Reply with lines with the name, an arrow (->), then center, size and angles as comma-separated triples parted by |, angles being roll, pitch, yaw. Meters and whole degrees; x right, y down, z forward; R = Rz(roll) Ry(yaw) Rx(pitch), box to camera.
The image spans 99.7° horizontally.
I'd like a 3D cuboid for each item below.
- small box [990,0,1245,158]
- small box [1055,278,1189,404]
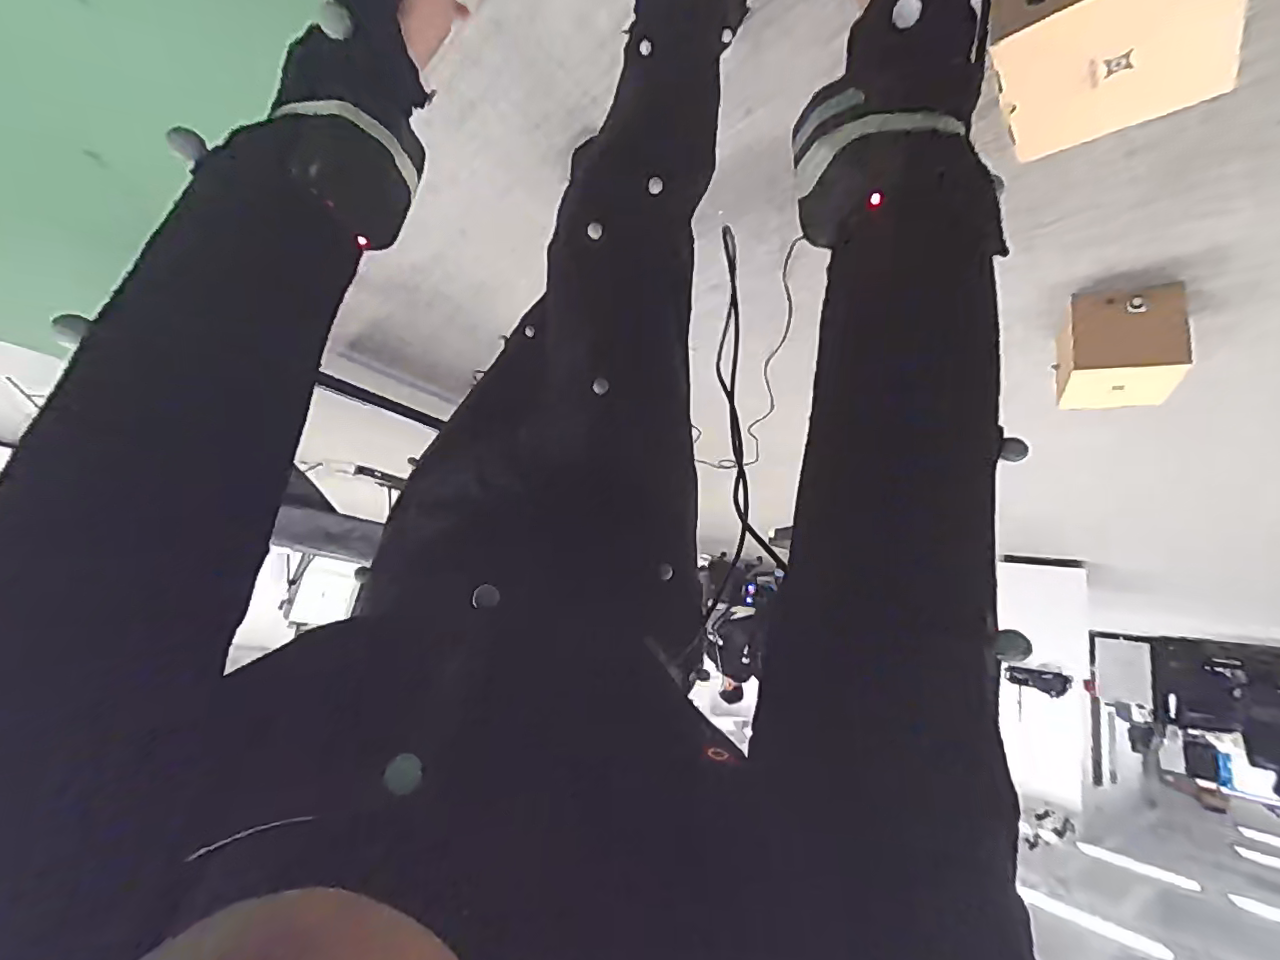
small box -> 0.466, -0.479, 0.538 | 0.179, 0.176, 0.168 | -2, 161, 43
small box -> 0.923, -0.262, 1.051 | 0.168, 0.176, 0.179 | 1, 162, 31
